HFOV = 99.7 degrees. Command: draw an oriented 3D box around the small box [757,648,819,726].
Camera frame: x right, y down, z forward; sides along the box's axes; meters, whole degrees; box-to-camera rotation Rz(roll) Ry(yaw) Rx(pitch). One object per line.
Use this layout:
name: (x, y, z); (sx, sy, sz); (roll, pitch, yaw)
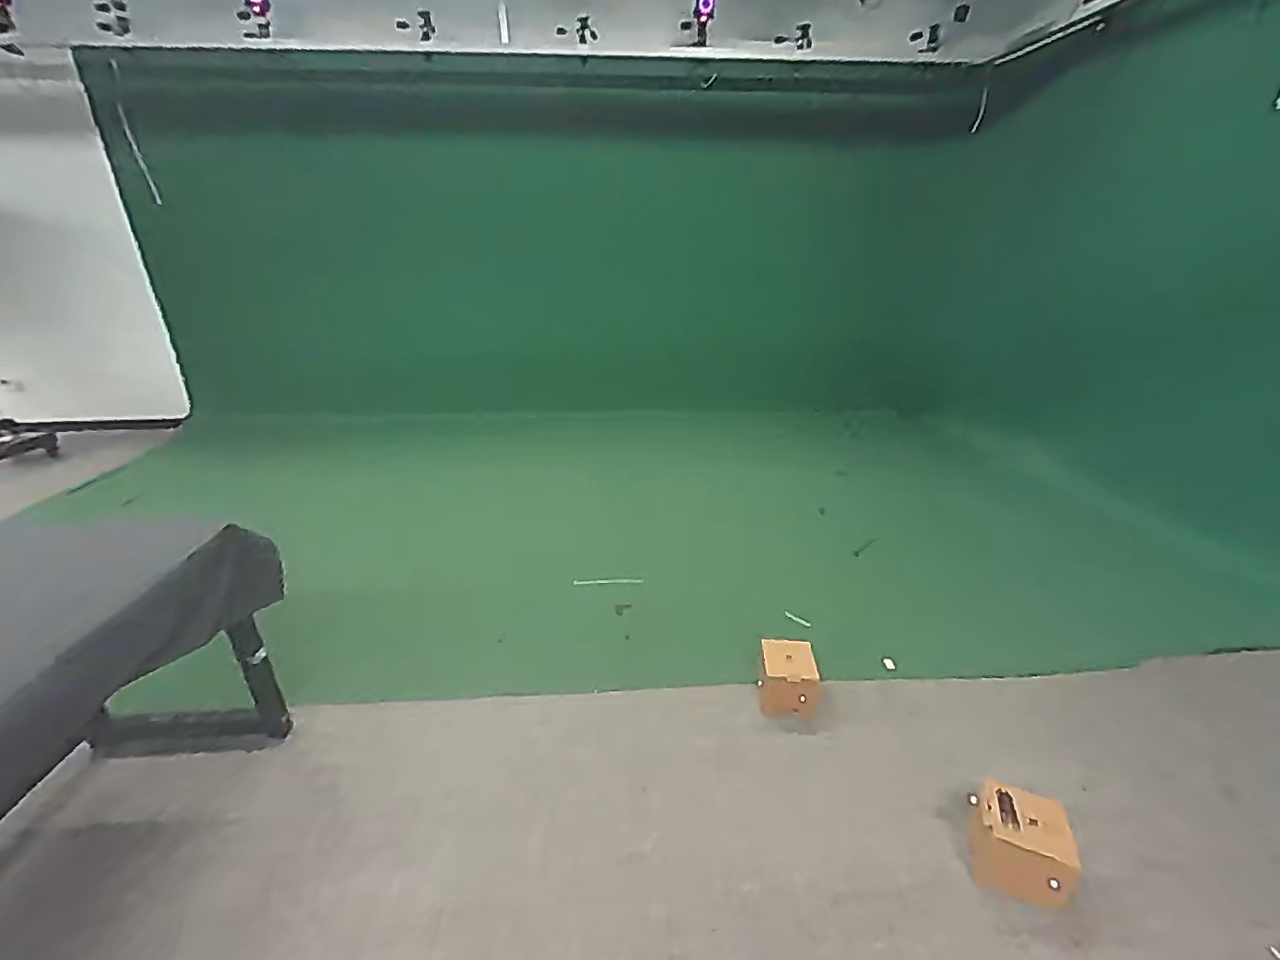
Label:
small box: (0.486, 0.688, 1.797); (0.168, 0.176, 0.179); (3, 23, 3)
